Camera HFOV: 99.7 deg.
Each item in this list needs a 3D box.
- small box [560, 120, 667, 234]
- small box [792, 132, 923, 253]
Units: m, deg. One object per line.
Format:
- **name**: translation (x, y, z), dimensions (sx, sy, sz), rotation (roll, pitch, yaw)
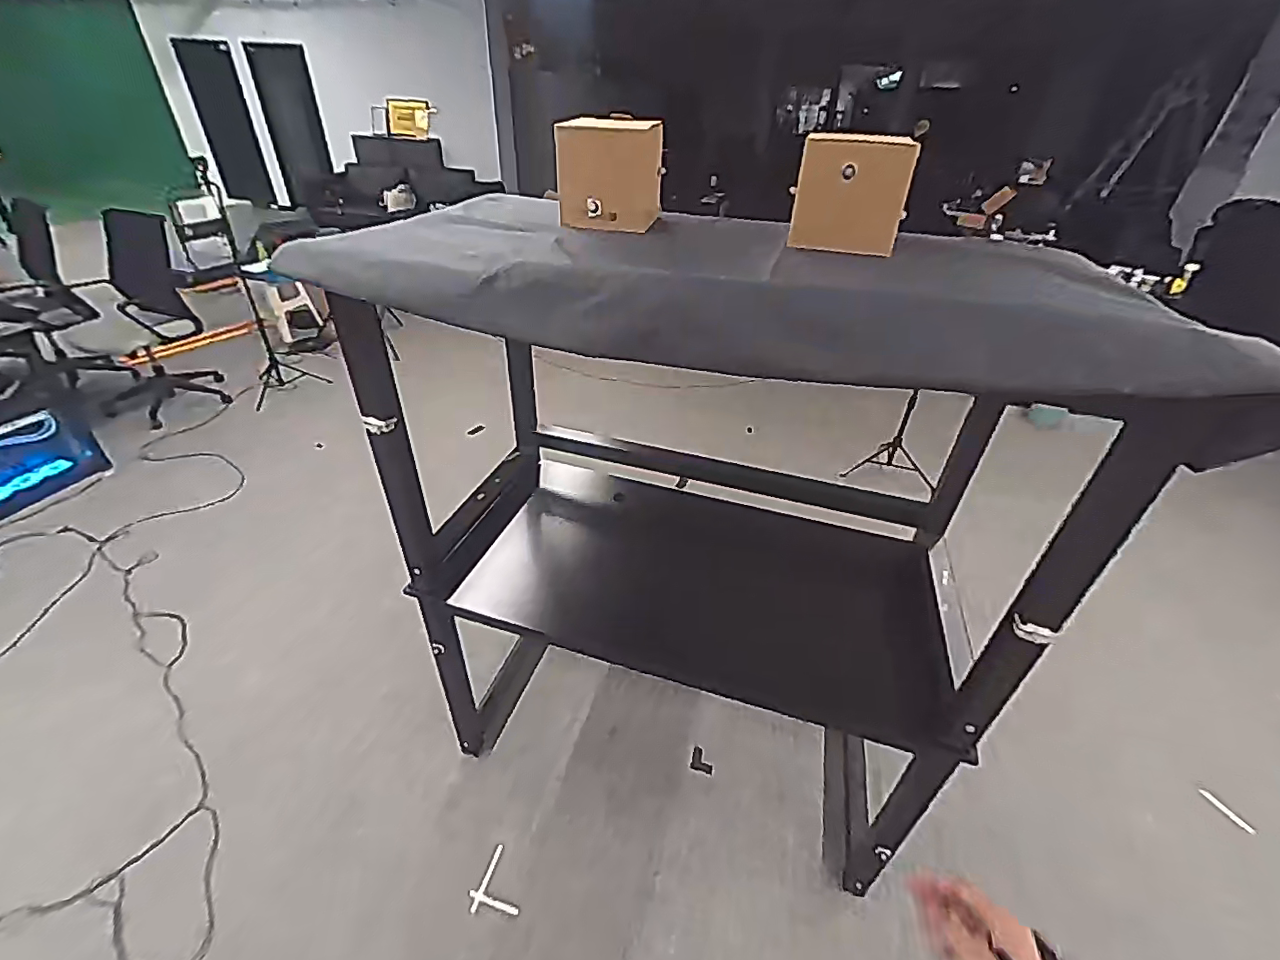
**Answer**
- **small box**: translation (-0.046, -0.582, 1.033), dimensions (0.168, 0.176, 0.179), rotation (7, 36, 8)
- **small box**: translation (0.373, -0.507, 0.953), dimensions (0.179, 0.176, 0.168), rotation (12, 37, 13)
